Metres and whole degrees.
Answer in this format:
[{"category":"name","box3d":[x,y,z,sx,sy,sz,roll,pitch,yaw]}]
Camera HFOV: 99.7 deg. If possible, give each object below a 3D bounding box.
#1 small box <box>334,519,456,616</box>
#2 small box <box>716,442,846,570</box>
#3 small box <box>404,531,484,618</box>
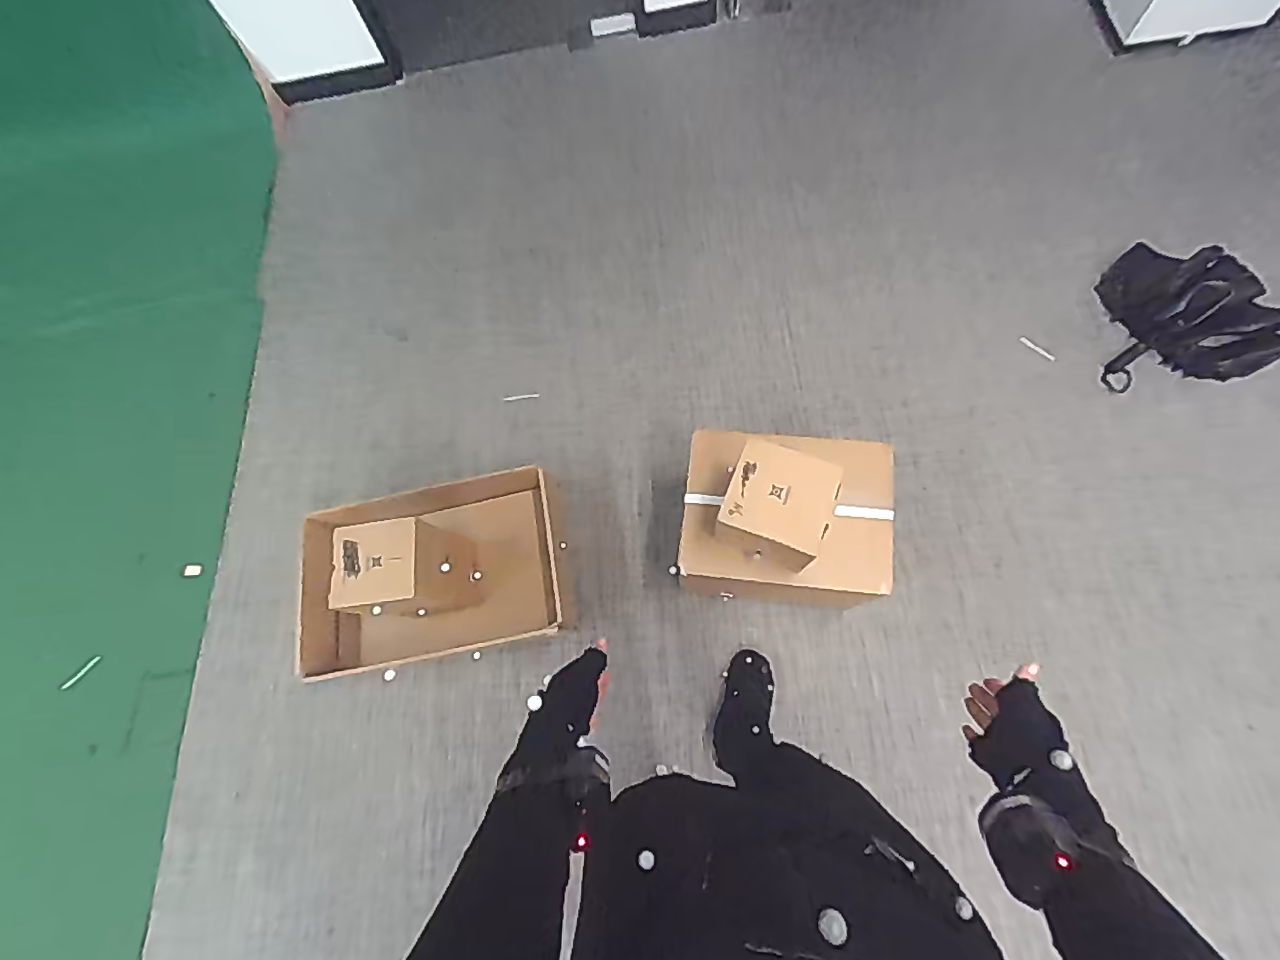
[{"category":"small box","box3d":[-0.512,0.193,1.150,0.179,0.176,0.168,-8,71,3]},{"category":"small box","box3d":[0.250,0.057,0.996,0.179,0.176,0.168,21,75,12]},{"category":"small box","box3d":[-0.496,0.234,1.310,0.179,0.176,0.168,-11,71,2]}]
